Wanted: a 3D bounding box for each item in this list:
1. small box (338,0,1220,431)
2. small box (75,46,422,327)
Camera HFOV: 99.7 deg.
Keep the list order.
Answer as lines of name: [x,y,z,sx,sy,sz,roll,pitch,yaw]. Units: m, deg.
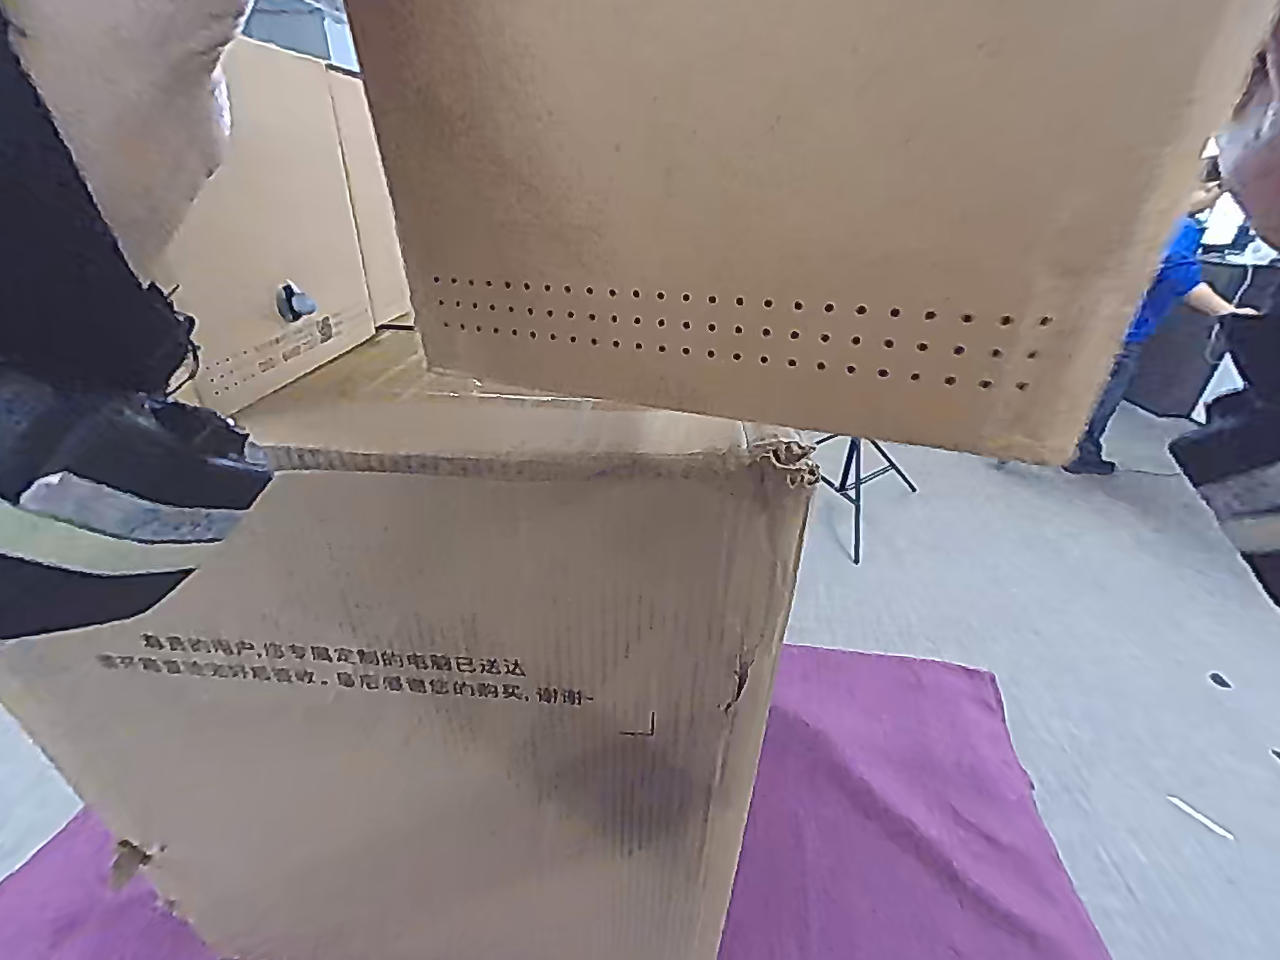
small box: [0.039,-0.128,0.161,0.179,0.176,0.168,11,34,22]
small box: [-0.281,-0.235,0.452,0.168,0.176,0.179,4,28,3]
